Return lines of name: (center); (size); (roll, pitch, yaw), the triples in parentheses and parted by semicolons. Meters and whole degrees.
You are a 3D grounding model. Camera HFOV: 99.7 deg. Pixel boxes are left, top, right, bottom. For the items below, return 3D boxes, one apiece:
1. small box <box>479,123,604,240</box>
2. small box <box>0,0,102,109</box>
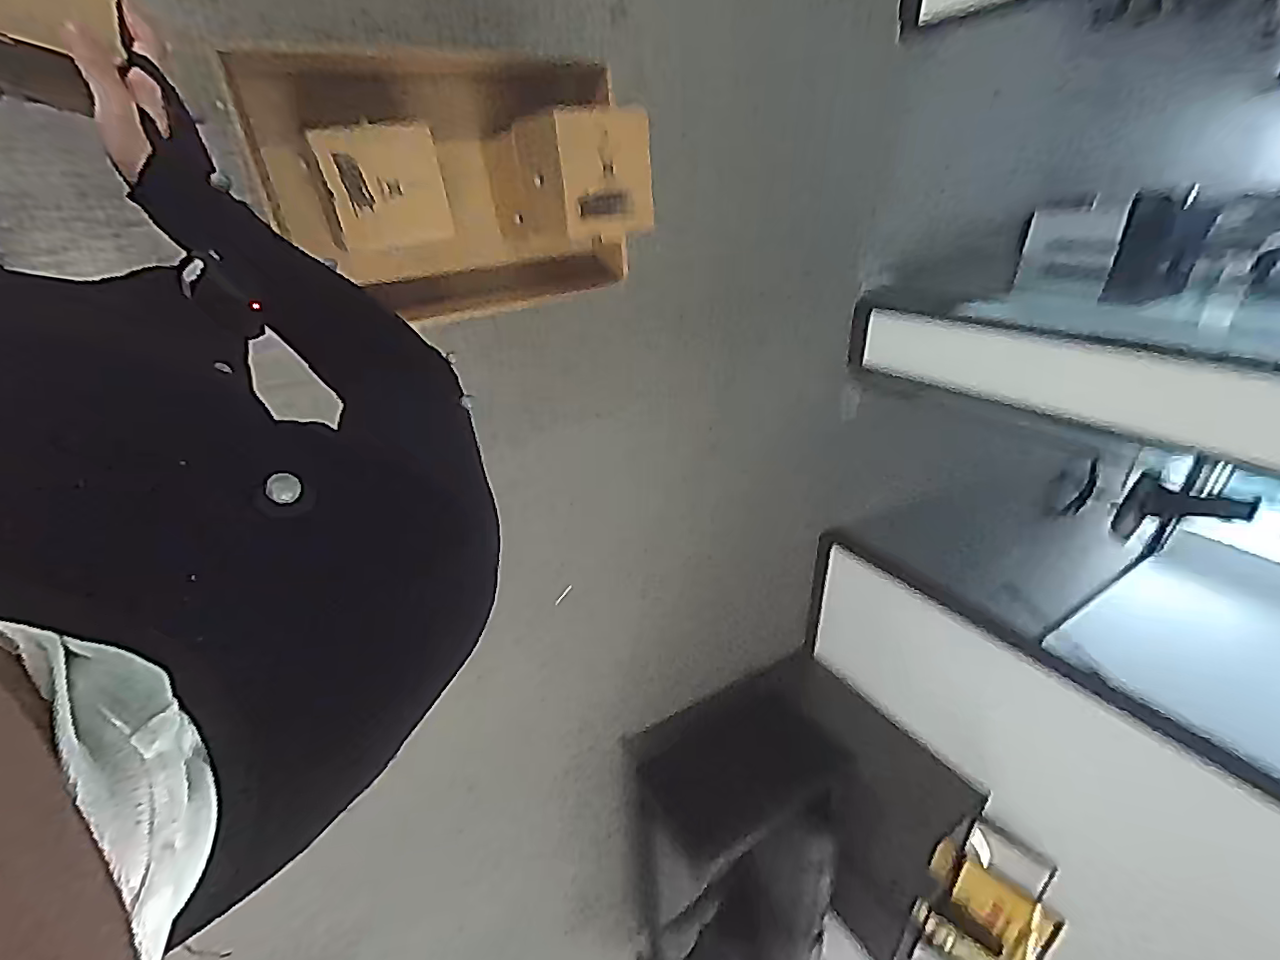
small box: (-0.191, -0.571, 1.041); (0.168, 0.176, 0.179); (-24, 125, -26)
small box: (-0.528, -0.419, 0.402); (0.168, 0.176, 0.179); (-9, 109, -42)
